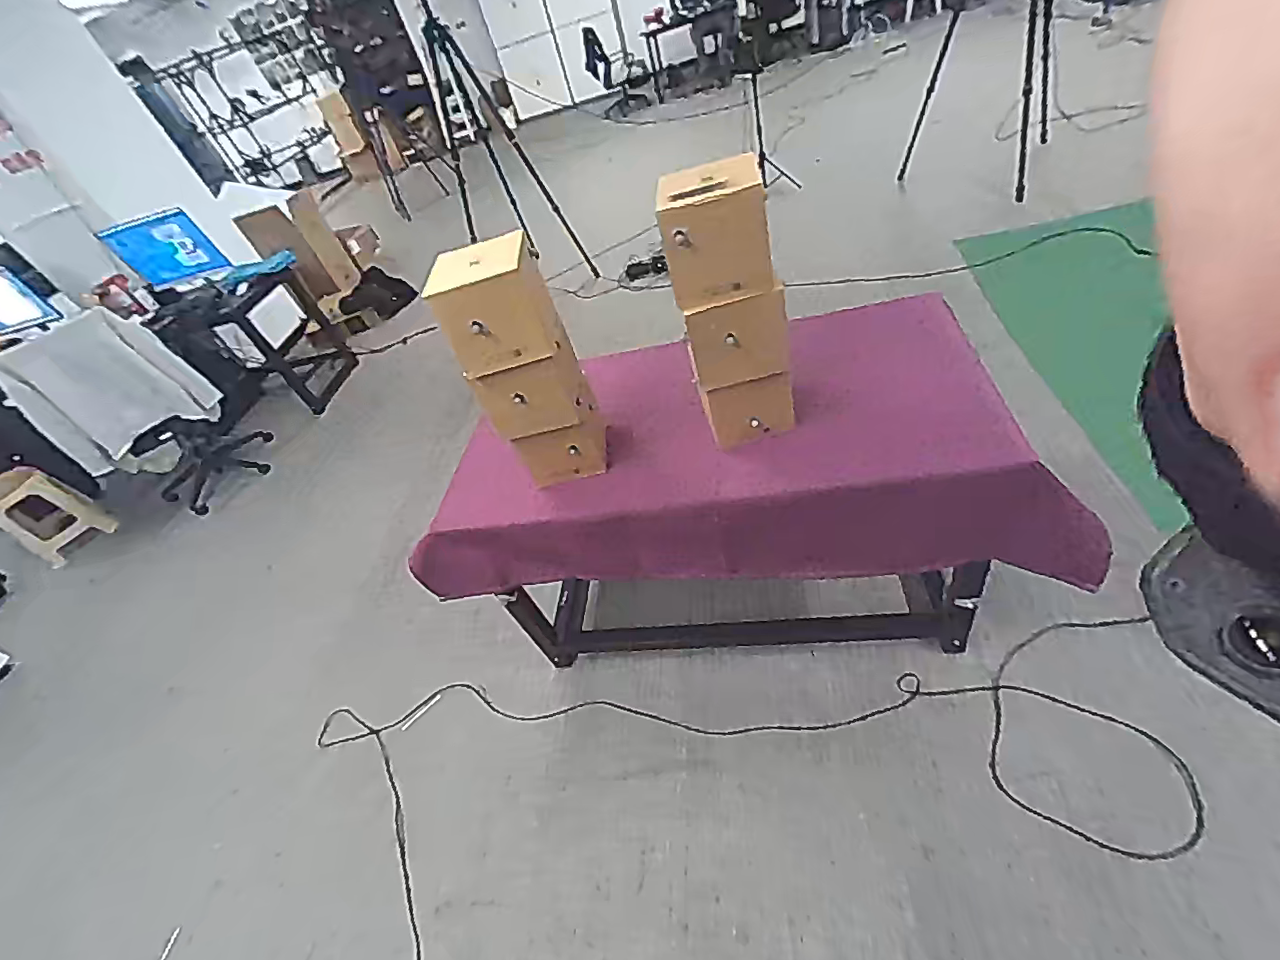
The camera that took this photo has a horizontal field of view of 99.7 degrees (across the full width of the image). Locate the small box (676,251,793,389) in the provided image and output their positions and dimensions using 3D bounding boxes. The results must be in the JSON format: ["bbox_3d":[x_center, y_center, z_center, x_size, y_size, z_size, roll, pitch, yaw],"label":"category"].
[{"bbox_3d":[0.177,-0.295,1.017,0.179,0.176,0.168,-14,43,10],"label":"small box"}]

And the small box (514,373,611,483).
[{"bbox_3d":[-0.168,-0.109,1.219,0.168,0.176,0.179,-12,43,10],"label":"small box"}]

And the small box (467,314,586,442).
[{"bbox_3d":[-0.216,-0.202,1.091,0.179,0.176,0.168,-13,43,10],"label":"small box"}]

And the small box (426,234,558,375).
[{"bbox_3d":[-0.253,-0.307,0.971,0.168,0.176,0.179,-15,43,7],"label":"small box"}]

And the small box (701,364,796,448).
[{"bbox_3d":[0.221,-0.196,1.142,0.168,0.176,0.179,-17,43,6],"label":"small box"}]
